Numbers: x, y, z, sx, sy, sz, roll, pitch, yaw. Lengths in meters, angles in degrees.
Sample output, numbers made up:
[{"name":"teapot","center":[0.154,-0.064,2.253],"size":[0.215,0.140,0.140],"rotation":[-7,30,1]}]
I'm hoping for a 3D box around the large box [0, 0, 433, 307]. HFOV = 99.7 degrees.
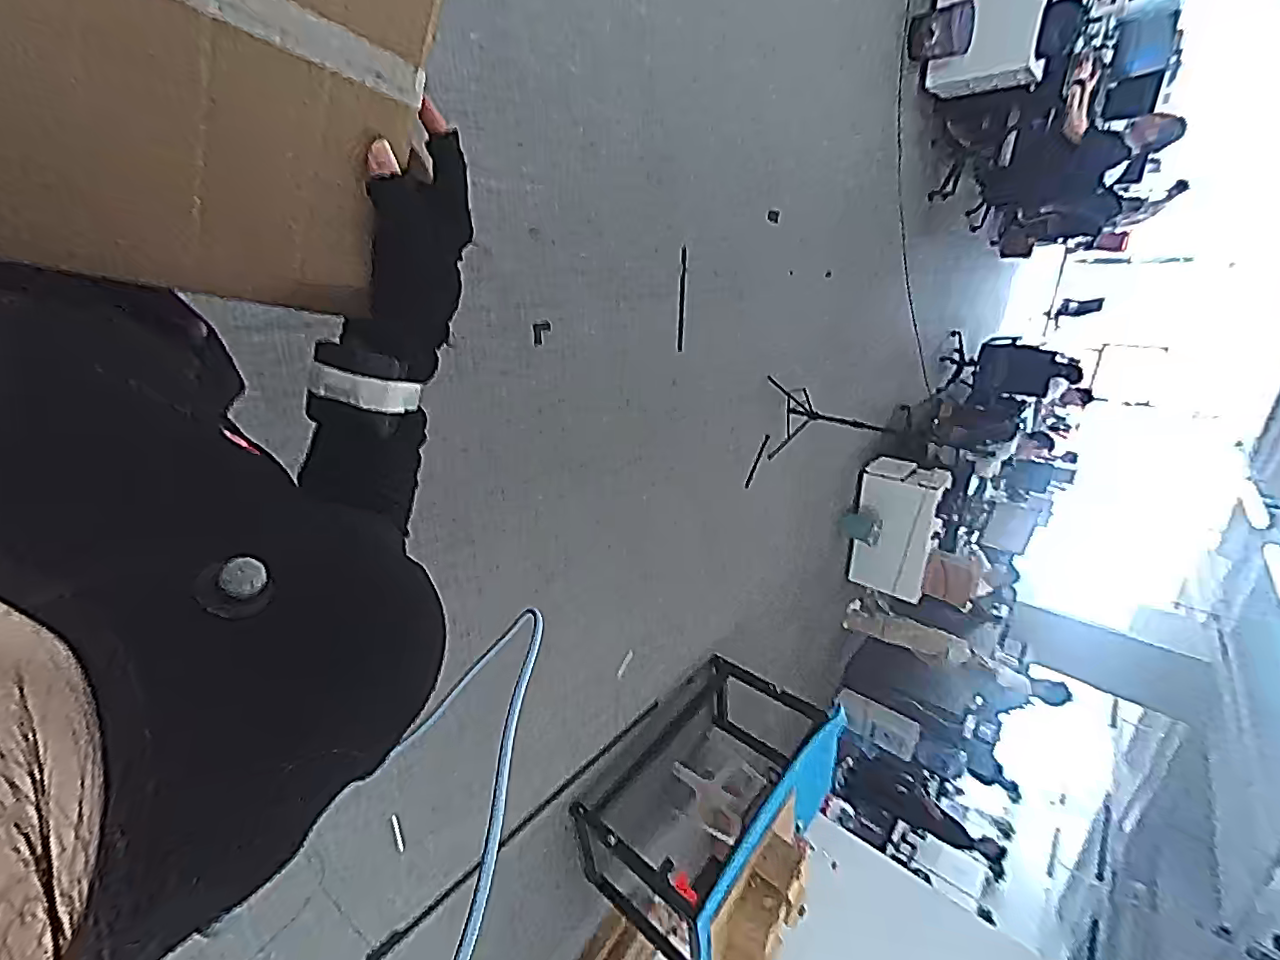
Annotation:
[{"name":"large box","center":[-0.366,-0.330,0.271],"size":[0.408,0.320,0.320],"rotation":[-3,134,-46]}]
